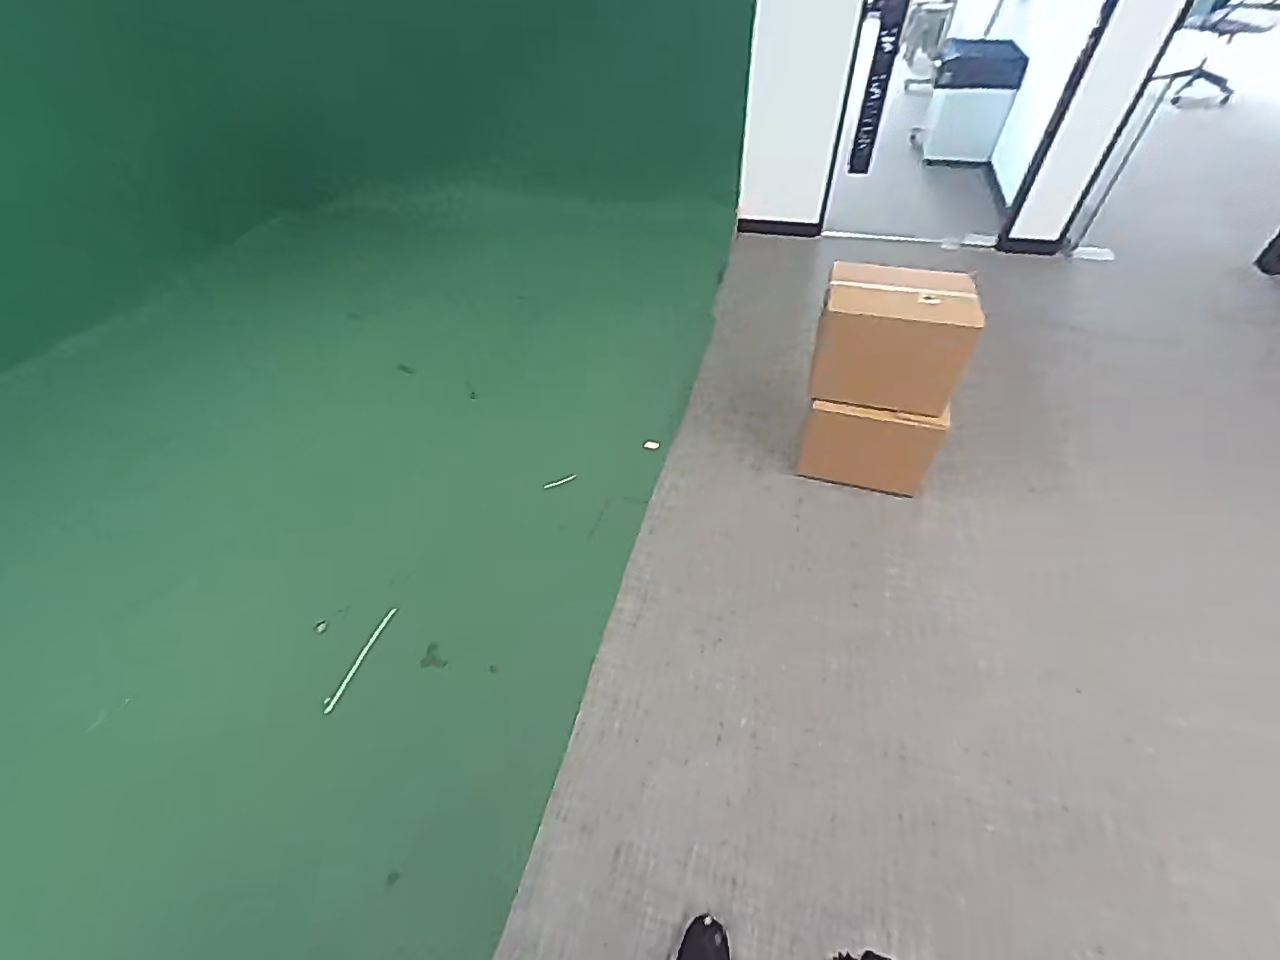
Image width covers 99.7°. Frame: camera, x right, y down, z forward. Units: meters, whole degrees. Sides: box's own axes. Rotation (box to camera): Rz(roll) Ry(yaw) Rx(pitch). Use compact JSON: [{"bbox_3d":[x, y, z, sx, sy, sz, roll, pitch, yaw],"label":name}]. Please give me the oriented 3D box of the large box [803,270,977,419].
[{"bbox_3d":[0.744,-0.422,1.673,0.408,0.320,0.320,12,47,12],"label":"large box"}]
